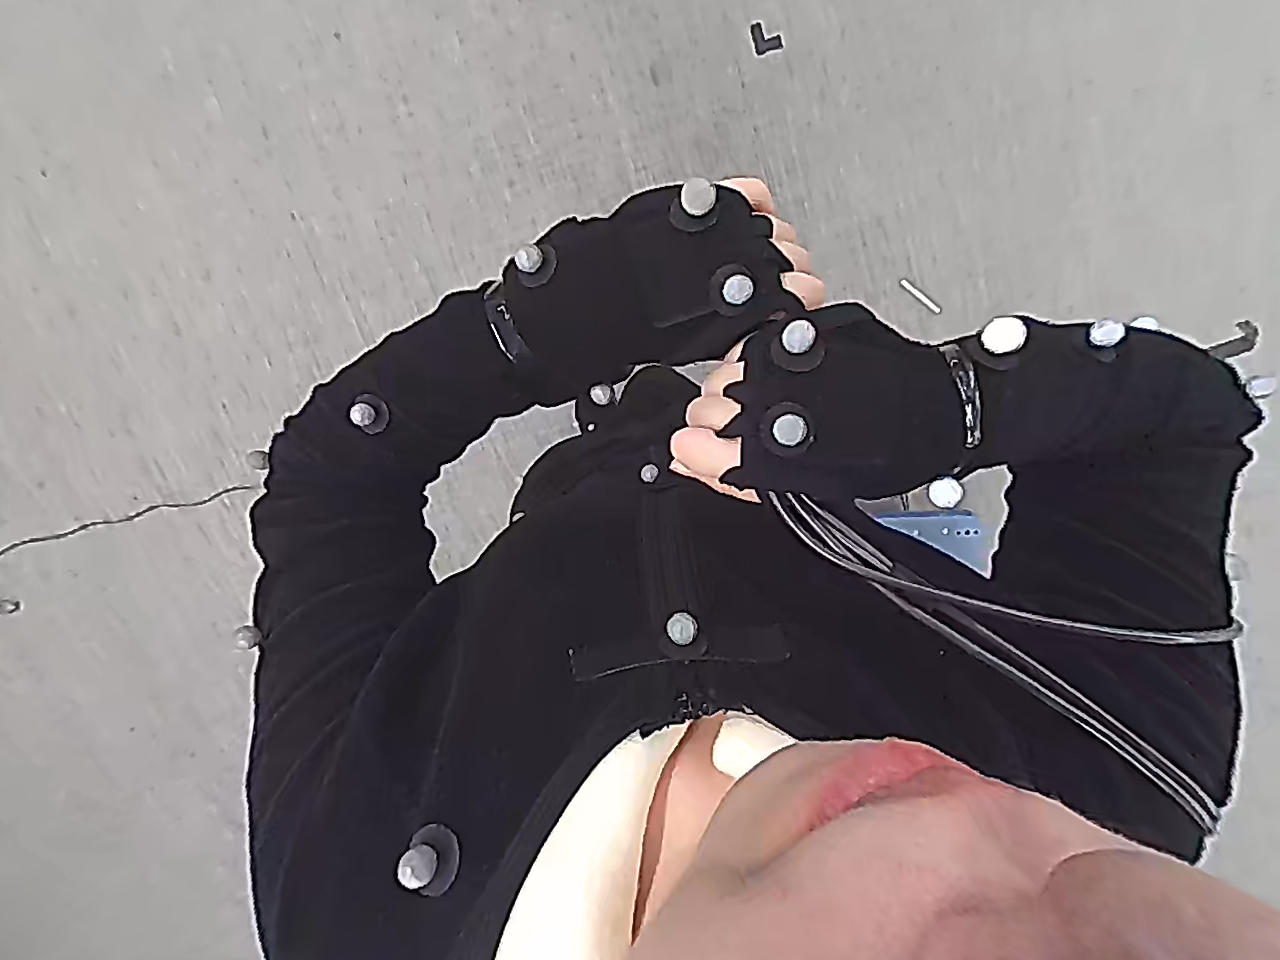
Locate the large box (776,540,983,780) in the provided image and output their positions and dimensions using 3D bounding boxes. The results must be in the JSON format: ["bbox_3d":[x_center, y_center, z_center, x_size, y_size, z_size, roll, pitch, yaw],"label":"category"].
[{"bbox_3d":[0.552,0.405,1.291,0.320,0.320,0.408,-13,102,-2],"label":"large box"}]
